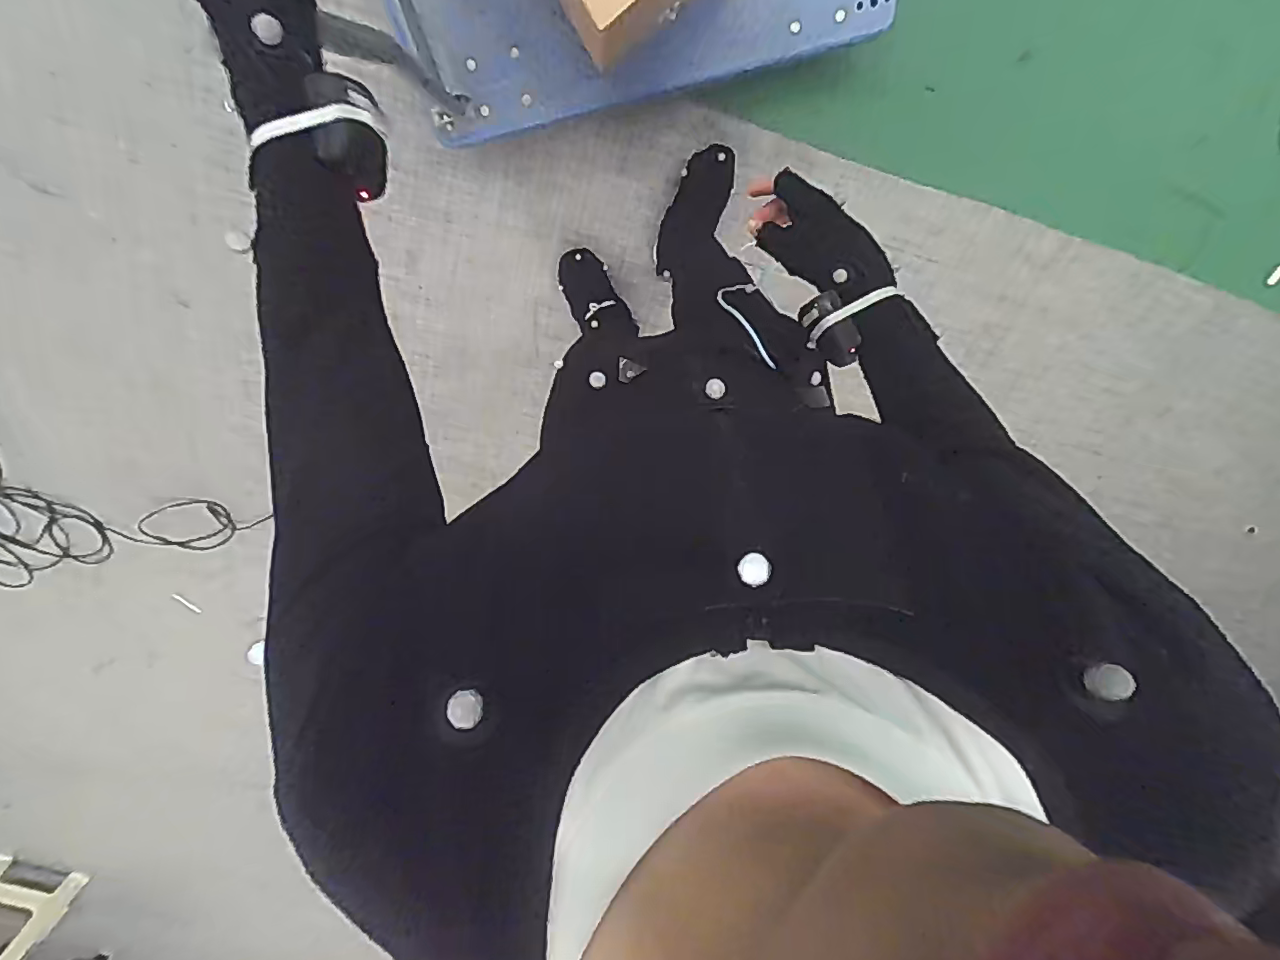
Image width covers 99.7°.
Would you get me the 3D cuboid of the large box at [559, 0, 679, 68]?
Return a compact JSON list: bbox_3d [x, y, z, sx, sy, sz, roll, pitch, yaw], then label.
[{"bbox_3d":[-0.057,-0.892,0.738,0.320,0.320,0.408,-32,115,13],"label":"large box"}]
